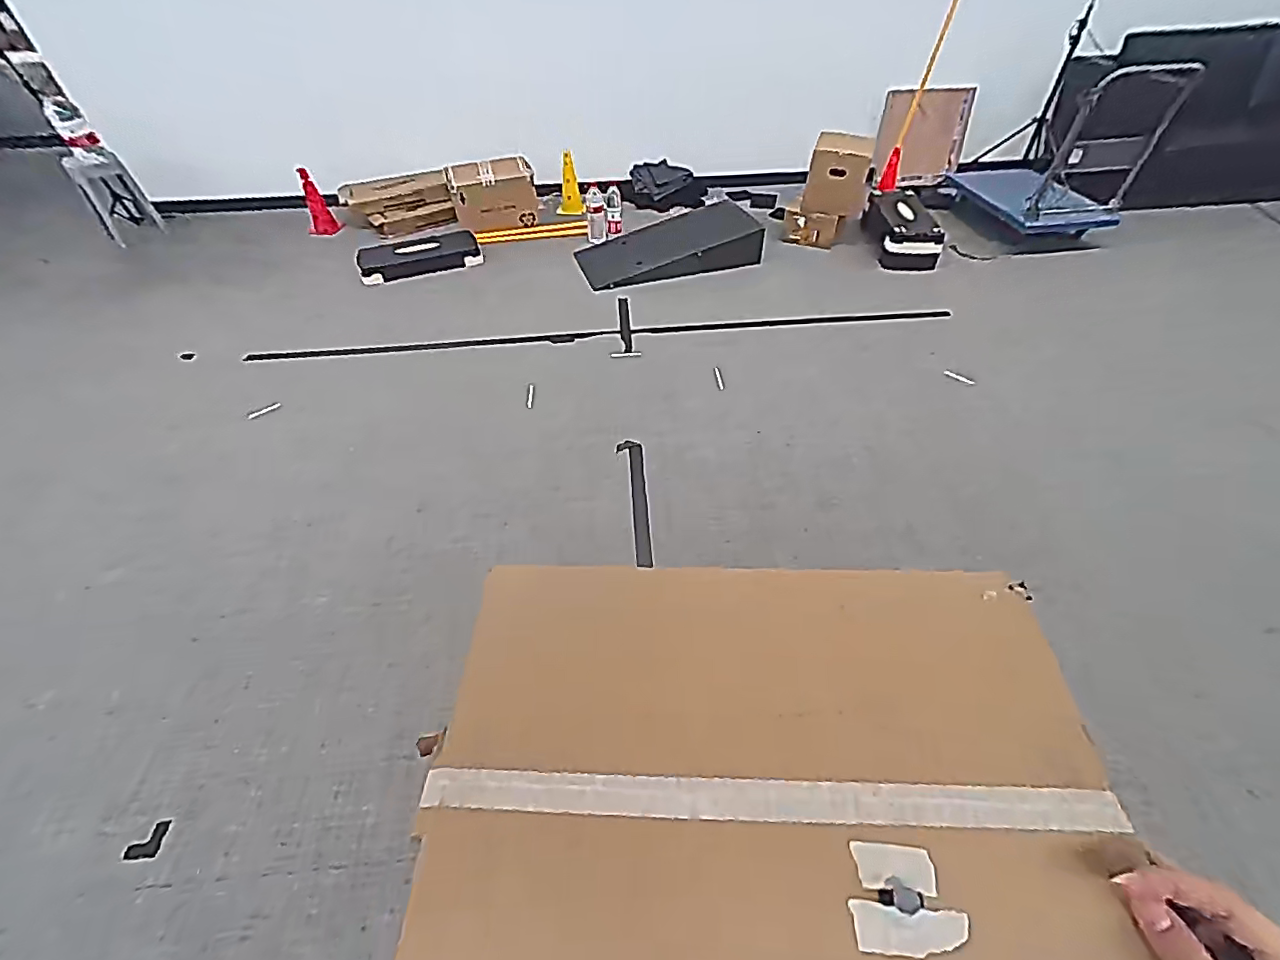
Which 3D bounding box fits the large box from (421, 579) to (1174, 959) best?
[{"bbox_3d":[0.085,0.292,0.447,0.408,0.320,0.320,0,52,3],"label":"large box"}]
